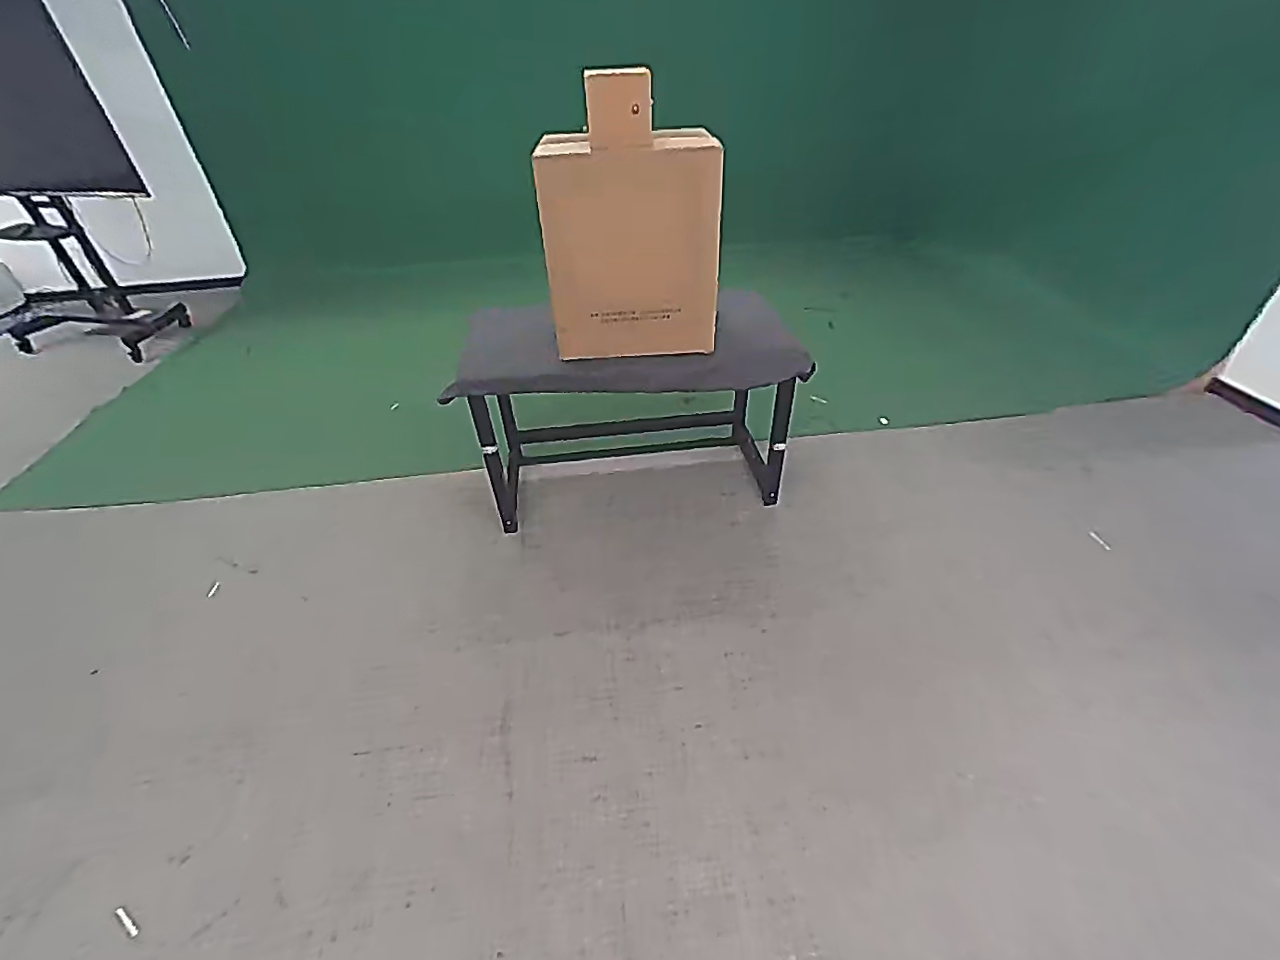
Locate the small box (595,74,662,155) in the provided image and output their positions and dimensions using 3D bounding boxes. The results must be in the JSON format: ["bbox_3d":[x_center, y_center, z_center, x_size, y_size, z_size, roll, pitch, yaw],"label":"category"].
[{"bbox_3d":[-0.032,-1.033,1.529,0.179,0.176,0.168,-5,40,-1],"label":"small box"}]
